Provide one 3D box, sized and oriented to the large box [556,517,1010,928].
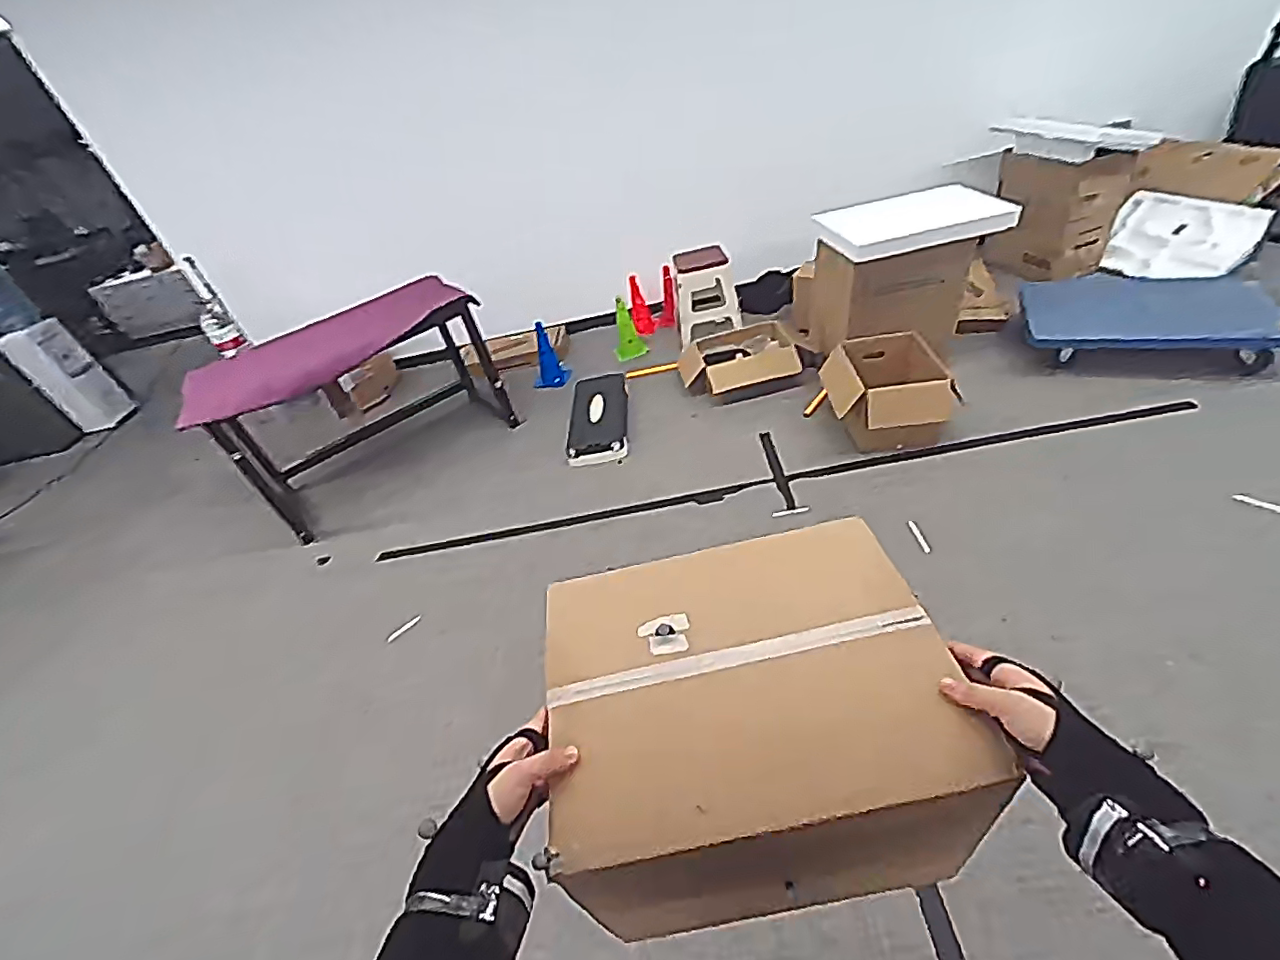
[{"bbox_3d":[0.136,0.299,0.671,0.408,0.320,0.320,-14,40,2],"label":"large box"}]
